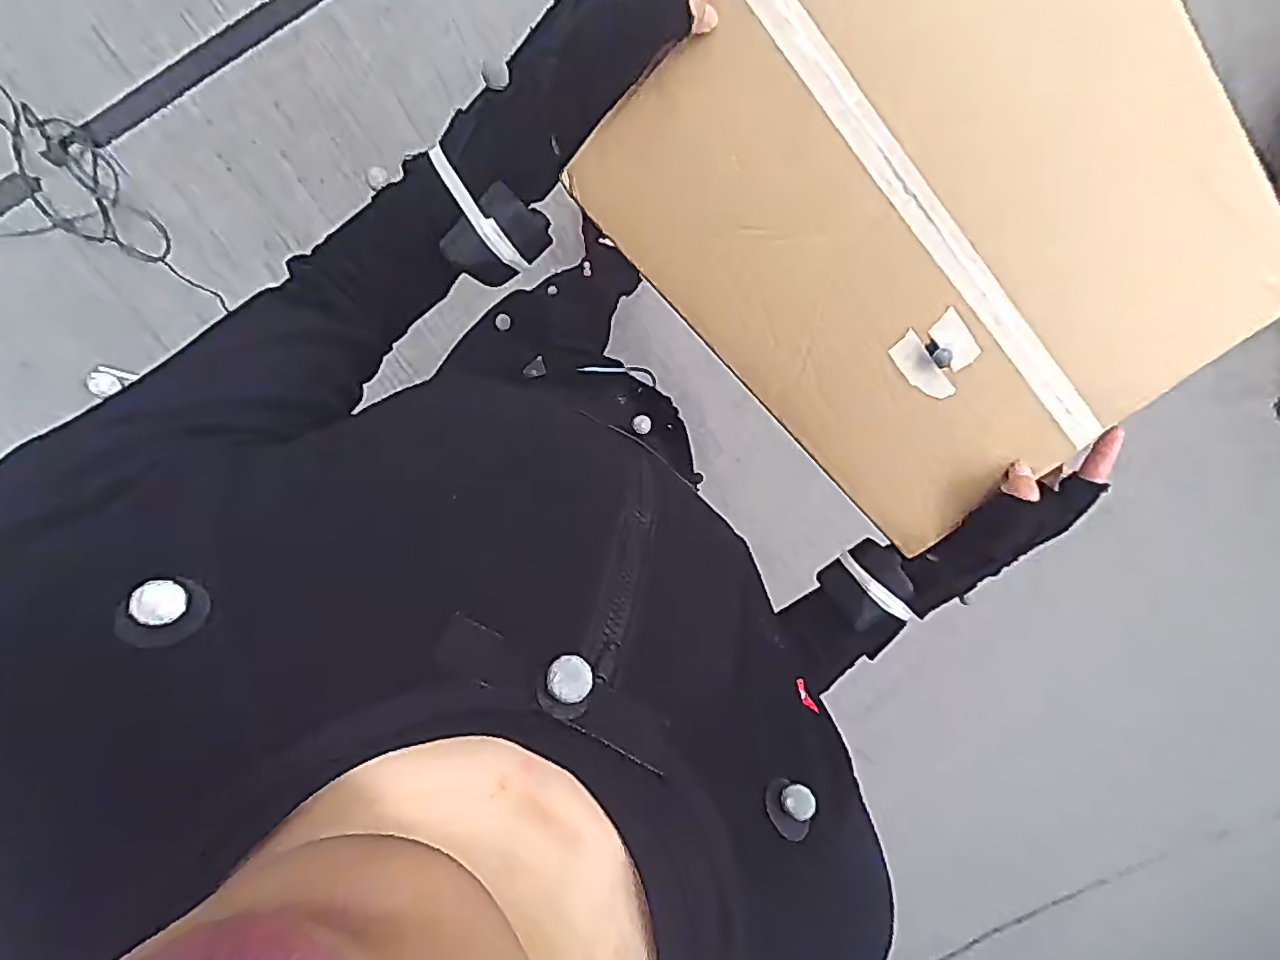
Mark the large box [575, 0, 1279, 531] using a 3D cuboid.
[{"bbox_3d":[0.205,-0.239,0.503,0.320,0.320,0.408,-40,107,21],"label":"large box"}]
